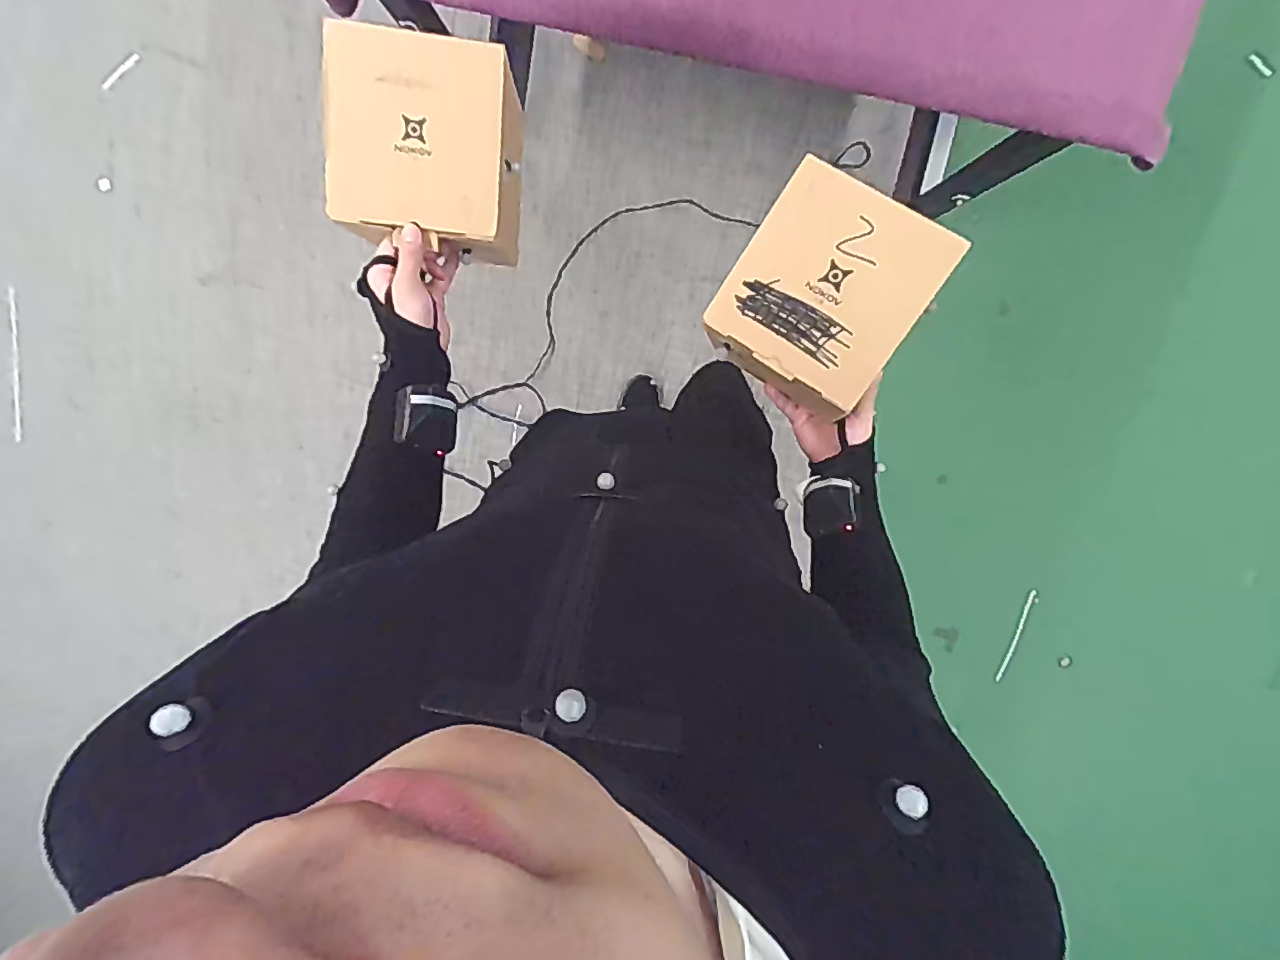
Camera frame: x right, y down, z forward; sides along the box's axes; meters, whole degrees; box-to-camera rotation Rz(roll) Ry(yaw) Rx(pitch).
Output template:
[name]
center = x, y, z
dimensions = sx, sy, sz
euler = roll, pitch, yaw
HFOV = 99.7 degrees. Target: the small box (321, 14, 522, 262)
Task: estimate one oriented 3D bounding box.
[small box]
center = -0.226, -0.352, 0.597
dimensions = 0.168, 0.176, 0.179
euler = 5, 101, -6
